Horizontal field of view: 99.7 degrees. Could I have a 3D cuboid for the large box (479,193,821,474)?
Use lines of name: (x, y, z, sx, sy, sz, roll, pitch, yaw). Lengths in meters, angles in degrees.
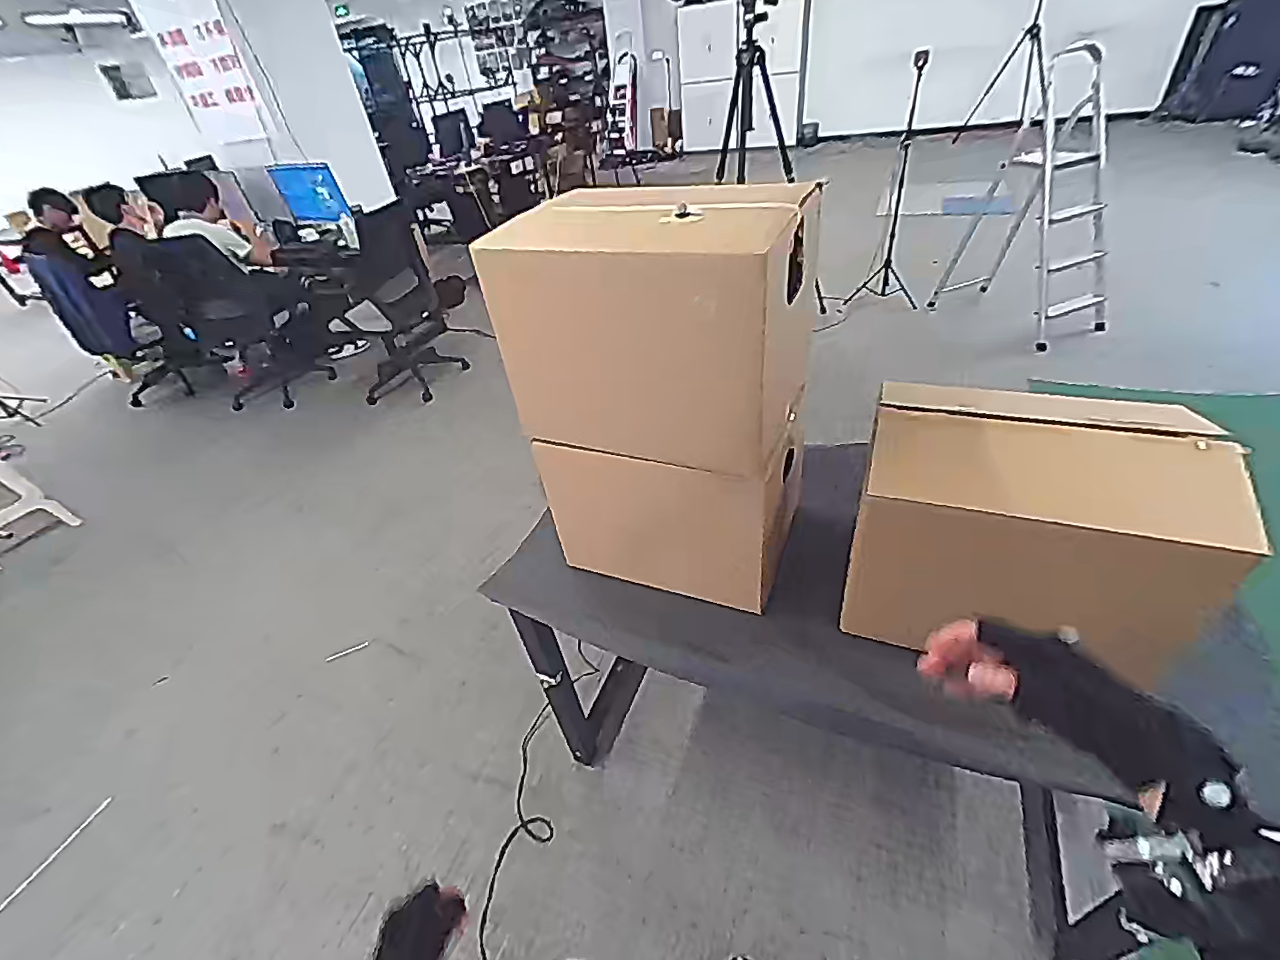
large box: (0.033, -0.245, 0.845, 0.408, 0.320, 0.320, 13, 44, 22)
